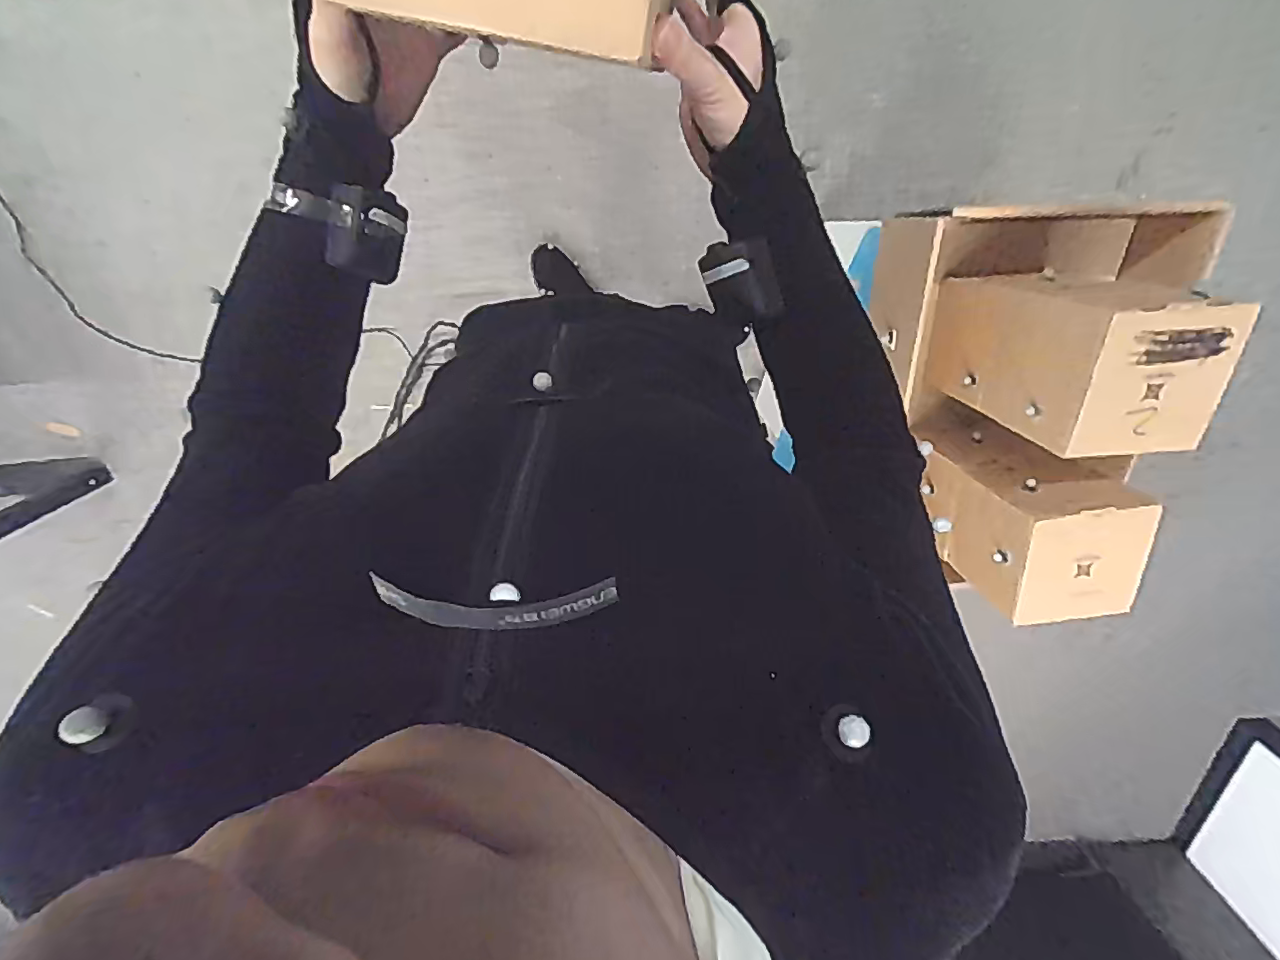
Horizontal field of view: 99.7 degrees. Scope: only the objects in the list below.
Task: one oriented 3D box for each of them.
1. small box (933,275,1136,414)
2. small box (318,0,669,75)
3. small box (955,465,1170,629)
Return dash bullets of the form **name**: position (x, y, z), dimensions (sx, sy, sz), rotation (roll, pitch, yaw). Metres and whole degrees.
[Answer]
- **small box**: position (0.580, -0.214, 0.826), dimensions (0.168, 0.176, 0.179), rotation (-3, 117, -1)
- **small box**: position (-0.068, -0.349, 0.312), dimensions (0.179, 0.176, 0.168), rotation (11, 127, 0)
- **small box**: position (0.590, 0.087, 0.784), dimensions (0.168, 0.176, 0.179), rotation (-7, 115, 1)
